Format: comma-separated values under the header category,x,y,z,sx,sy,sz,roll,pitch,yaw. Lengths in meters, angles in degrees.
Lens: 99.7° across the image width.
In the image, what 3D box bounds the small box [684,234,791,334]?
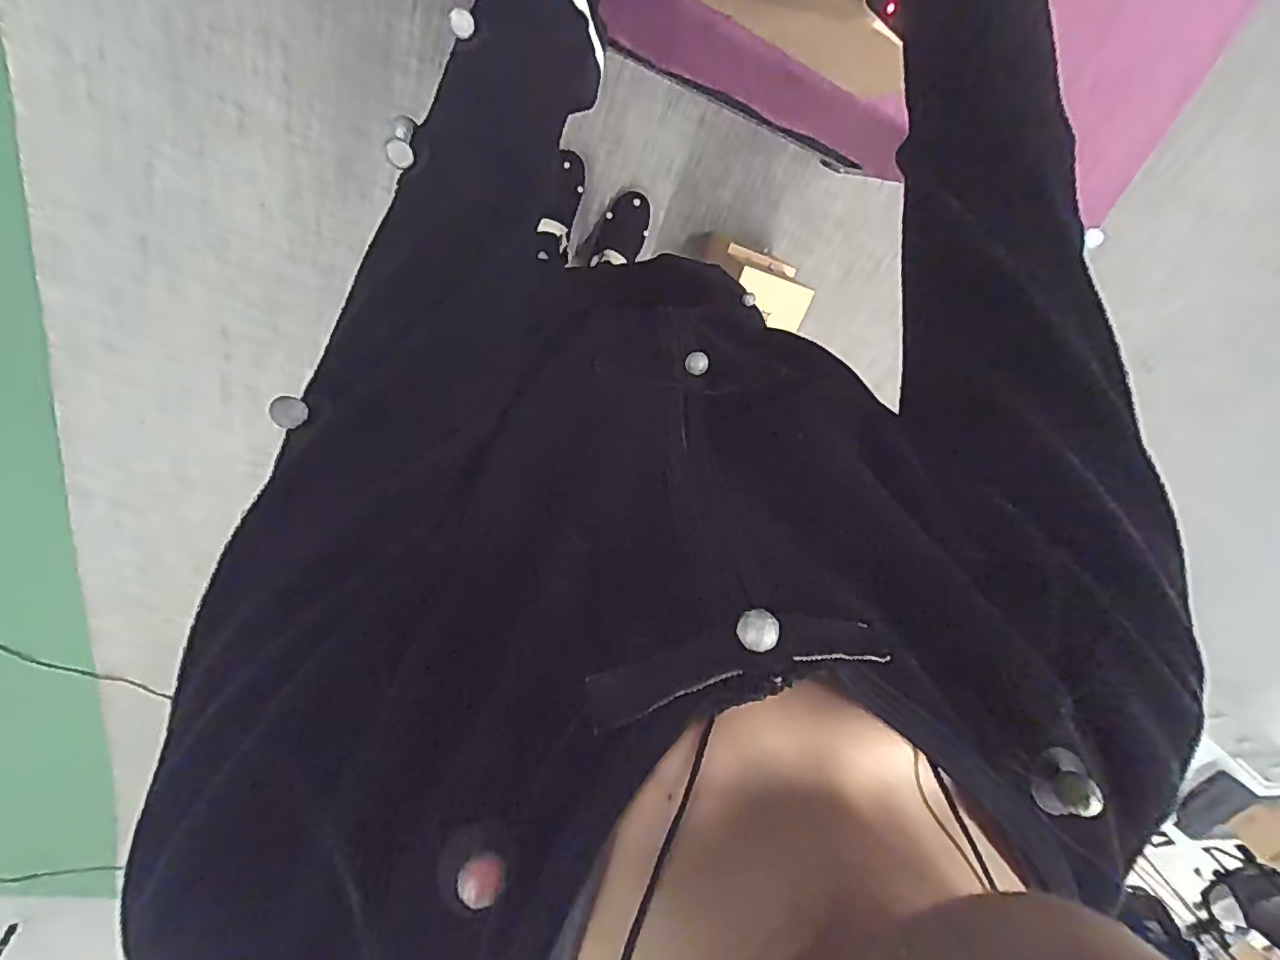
category,x,y,z,sx,sy,sz,roll,pitch,yaw
small box,0.229,-0.482,1.316,0.179,0.176,0.168,14,119,-17
